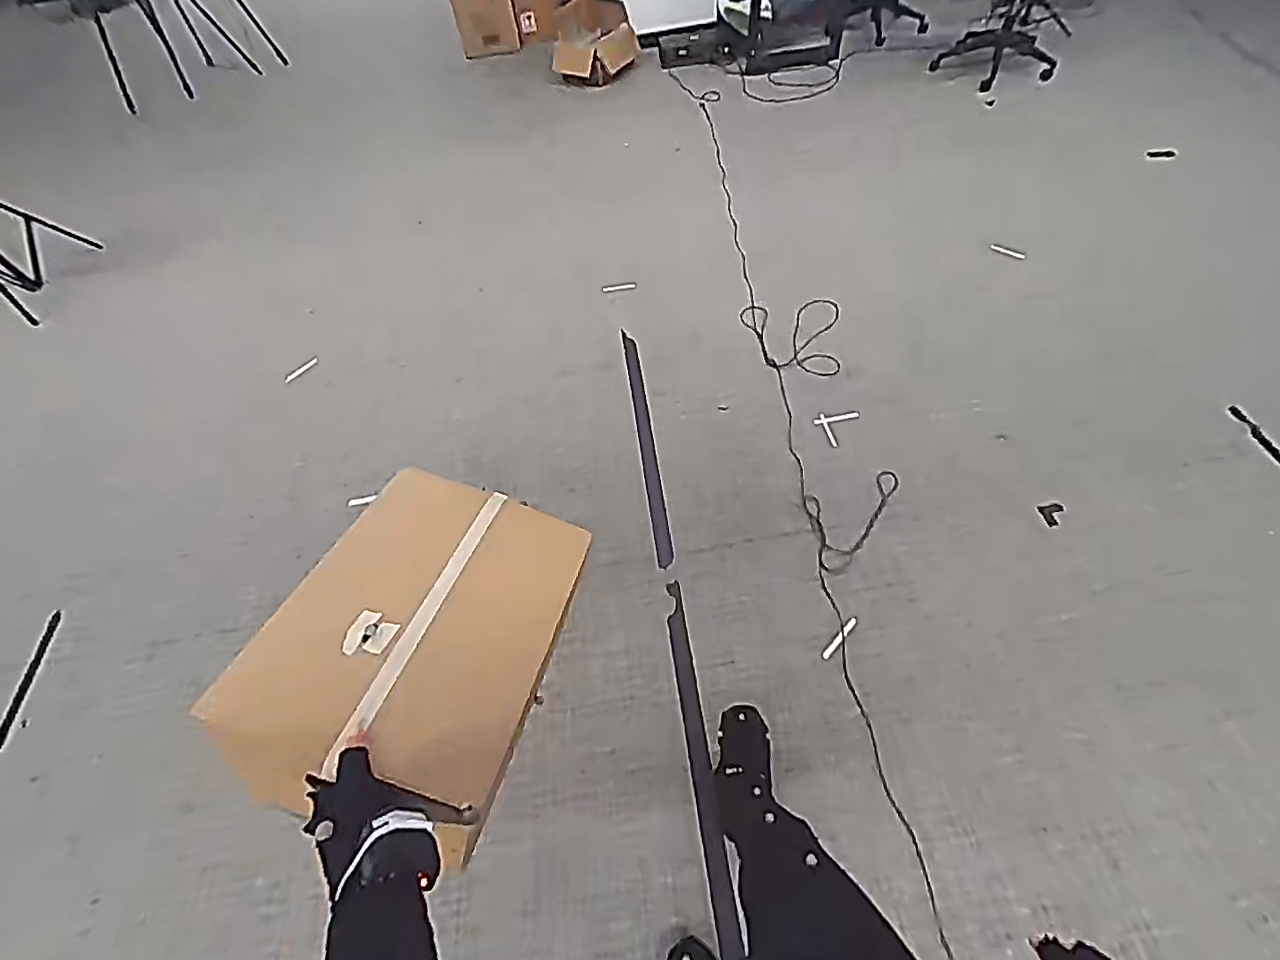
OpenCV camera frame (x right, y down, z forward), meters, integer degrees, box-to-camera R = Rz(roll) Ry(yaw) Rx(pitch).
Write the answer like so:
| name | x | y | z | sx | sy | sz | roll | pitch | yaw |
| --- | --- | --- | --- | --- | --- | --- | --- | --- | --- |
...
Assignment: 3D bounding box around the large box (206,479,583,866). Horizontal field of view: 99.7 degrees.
| name | x | y | z | sx | sy | sz | roll | pitch | yaw |
| --- | --- | --- | --- | --- | --- | --- | --- | --- | --- |
| large box | -0.312 | 0.277 | 0.810 | 0.320 | 0.320 | 0.408 | 20 | 44 | -1 |
